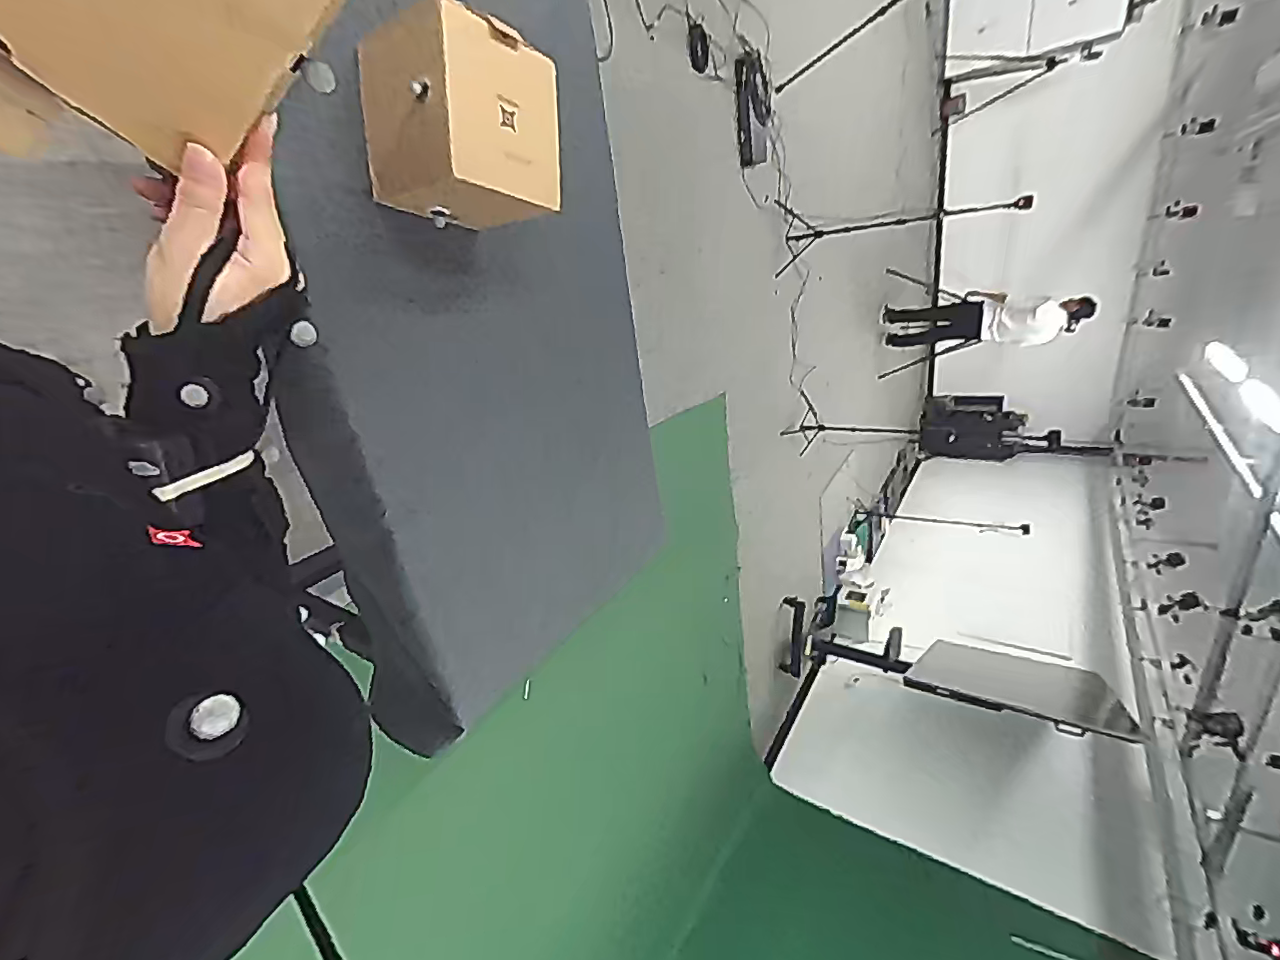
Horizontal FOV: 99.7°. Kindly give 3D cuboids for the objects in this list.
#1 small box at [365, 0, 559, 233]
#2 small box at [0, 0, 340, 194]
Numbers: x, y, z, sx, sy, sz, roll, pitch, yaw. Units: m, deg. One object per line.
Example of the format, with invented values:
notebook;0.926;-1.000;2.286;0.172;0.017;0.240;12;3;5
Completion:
small box;-0.220;-0.426;0.674;0.168;0.176;0.179;-16;110;-52
small box;-0.231;-0.286;0.247;0.168;0.179;0.176;32;32;-44
